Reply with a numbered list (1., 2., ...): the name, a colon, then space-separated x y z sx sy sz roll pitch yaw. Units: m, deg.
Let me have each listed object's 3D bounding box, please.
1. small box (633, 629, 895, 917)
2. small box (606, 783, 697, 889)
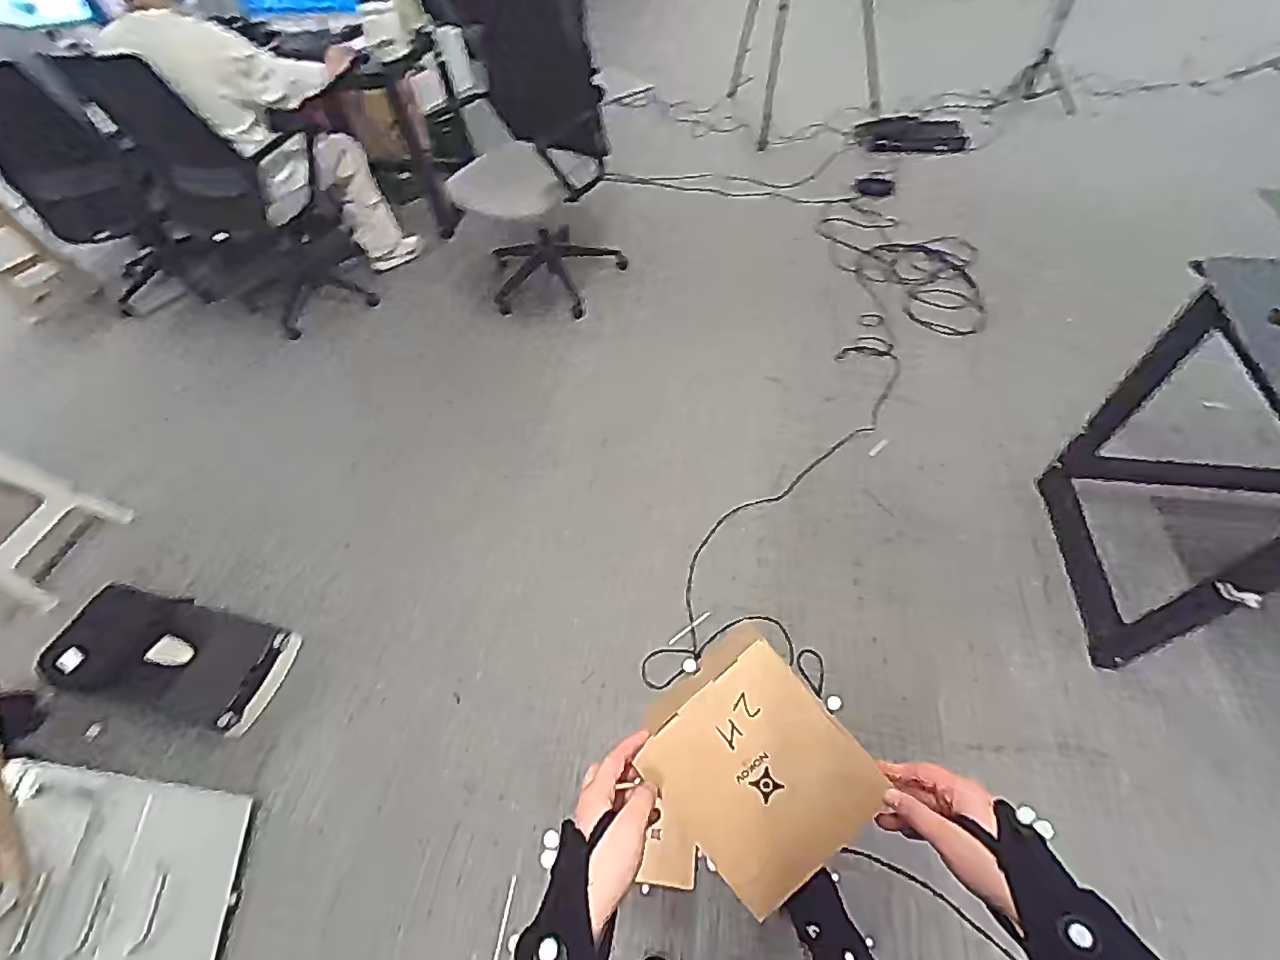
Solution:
1. small box: 0.118 0.277 0.564 0.168 0.176 0.179 -42 79 -1
2. small box: 0.034 0.759 1.157 0.179 0.176 0.168 2 55 8
